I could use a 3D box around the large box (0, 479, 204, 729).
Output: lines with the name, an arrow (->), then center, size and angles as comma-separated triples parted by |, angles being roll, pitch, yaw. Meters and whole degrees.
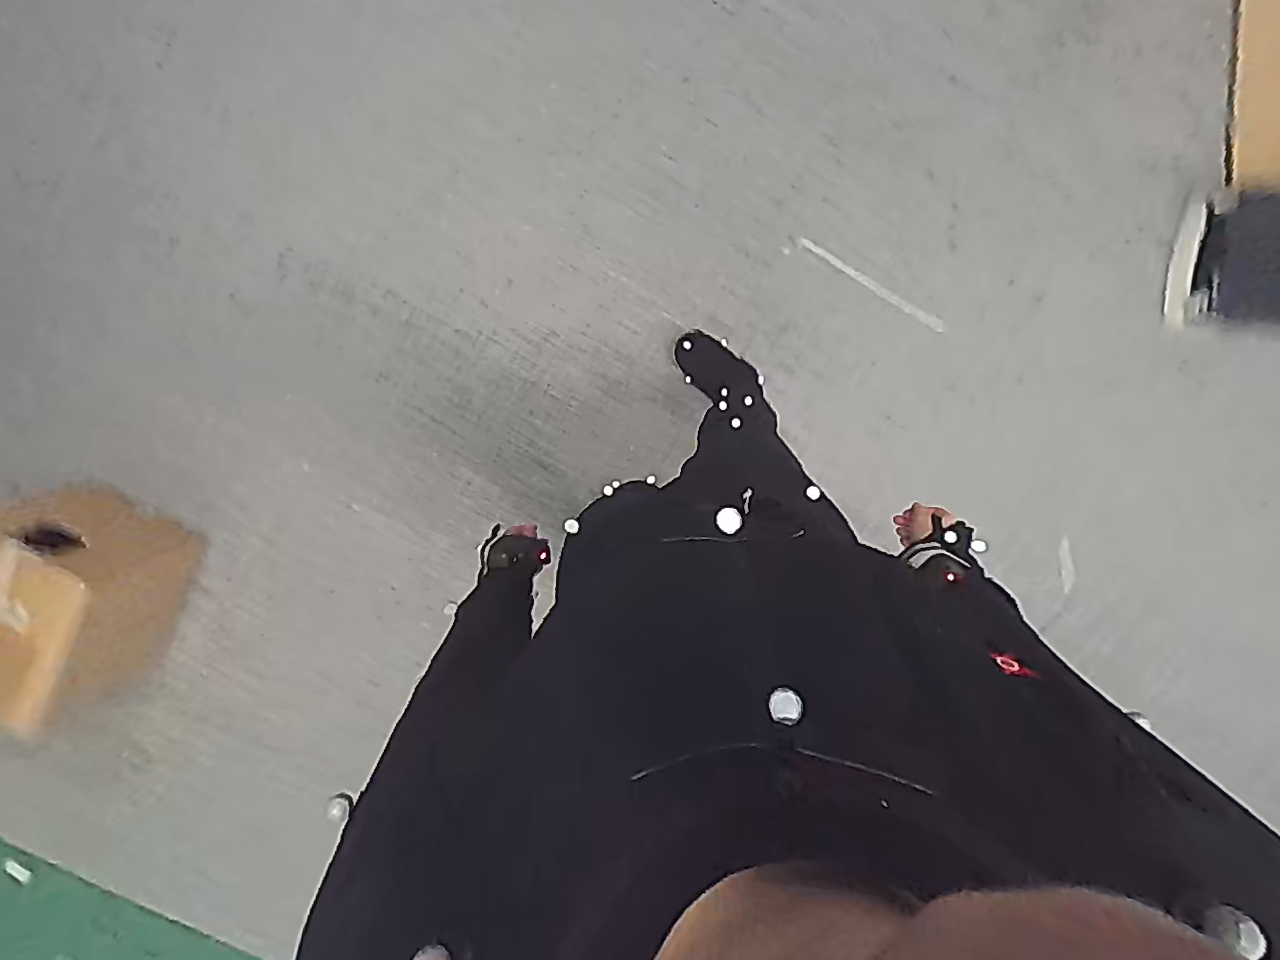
large box -> -1.326, 0.260, 1.241 | 0.320, 0.320, 0.408 | 29, 98, -6
